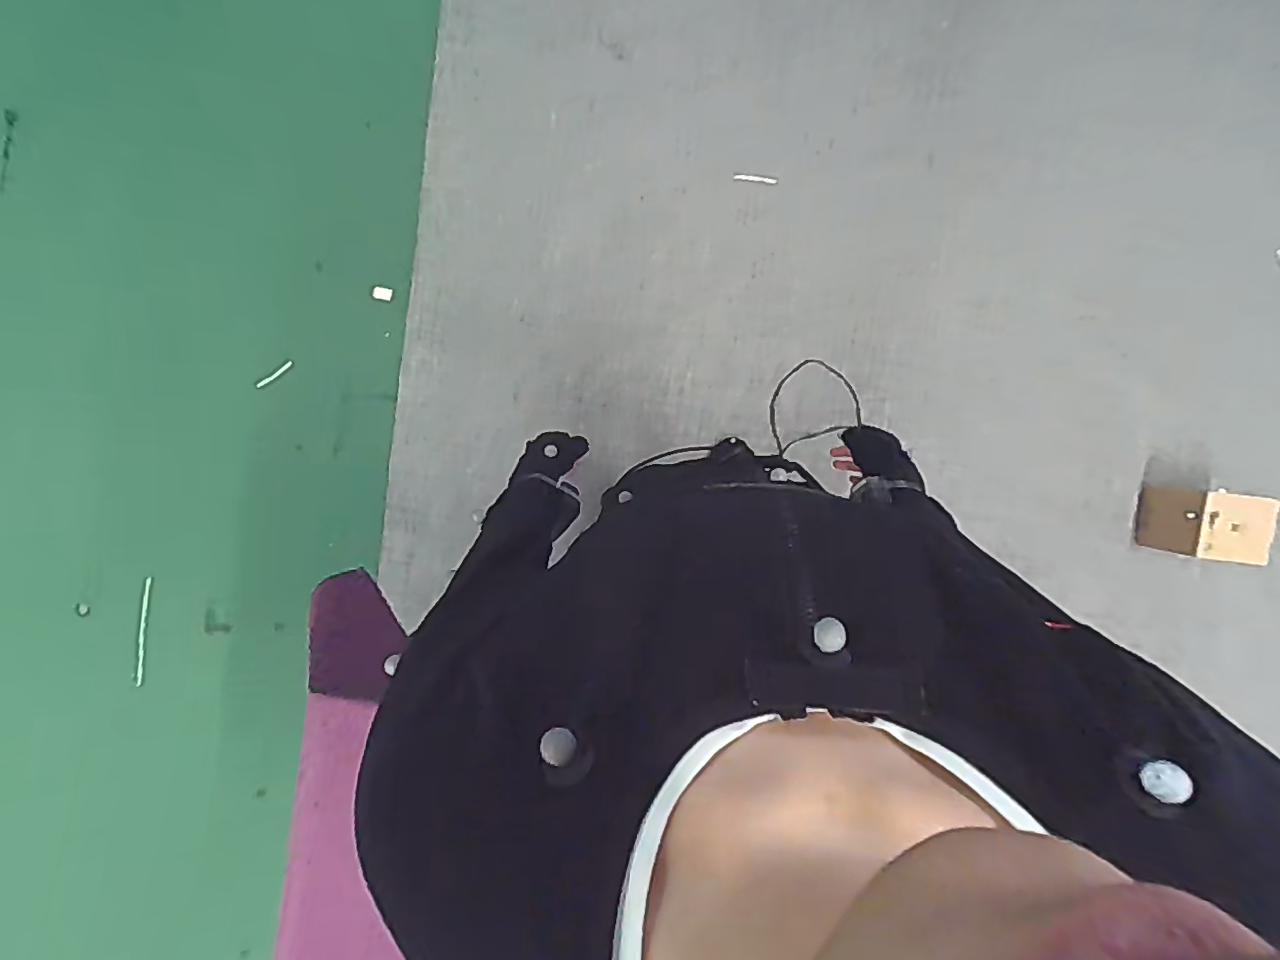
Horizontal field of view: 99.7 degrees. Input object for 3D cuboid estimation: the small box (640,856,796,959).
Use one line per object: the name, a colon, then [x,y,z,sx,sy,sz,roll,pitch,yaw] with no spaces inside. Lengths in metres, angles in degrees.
small box: [0.090,0.634,0.699,0.168,0.176,0.179,10,94,1]

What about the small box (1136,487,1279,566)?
small box: [1.433,0.110,1.372,0.179,0.176,0.168,7,93,0]
